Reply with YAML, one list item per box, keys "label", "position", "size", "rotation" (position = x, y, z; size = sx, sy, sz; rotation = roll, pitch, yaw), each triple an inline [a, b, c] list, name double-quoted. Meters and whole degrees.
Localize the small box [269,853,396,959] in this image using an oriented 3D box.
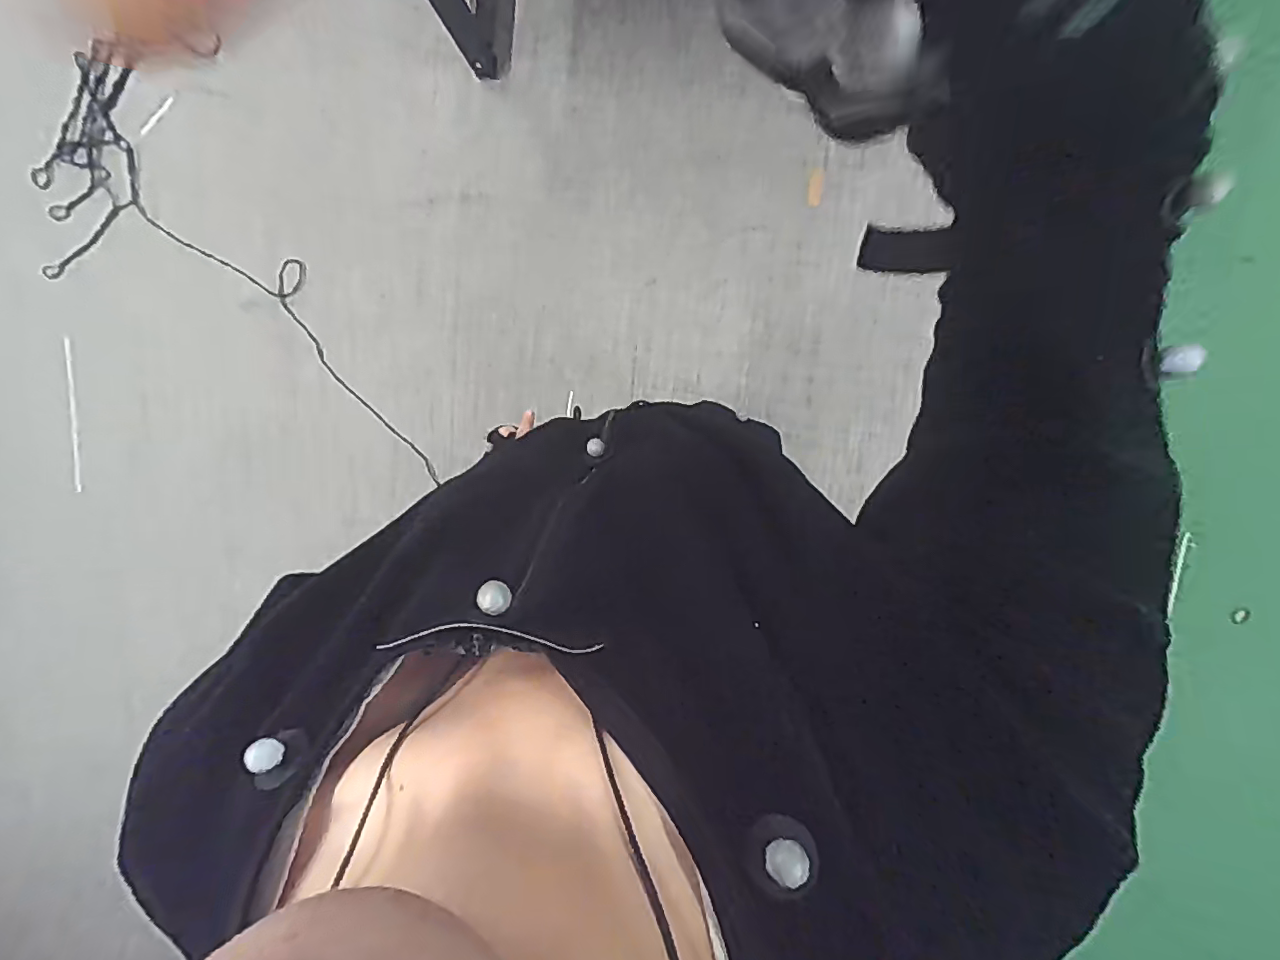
- label: "small box"
  position: [-0.737, 1.075, 1.317]
  size: [0.168, 0.176, 0.179]
  rotation: [40, 99, -1]
